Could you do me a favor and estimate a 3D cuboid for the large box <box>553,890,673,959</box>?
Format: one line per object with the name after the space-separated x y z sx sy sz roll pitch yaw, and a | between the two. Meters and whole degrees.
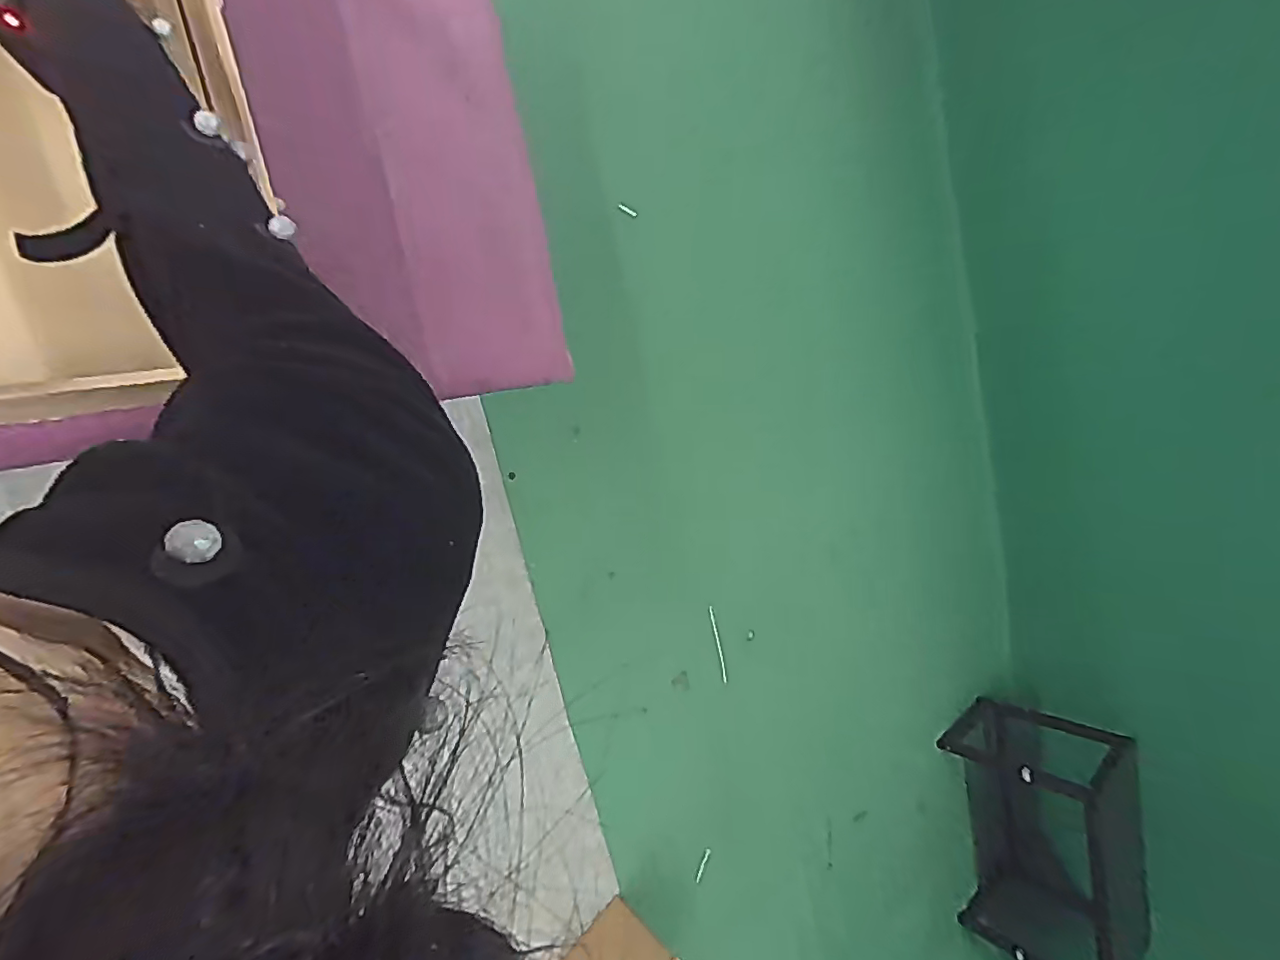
-0.094 1.595 1.632 0.408 0.320 0.320 -37 112 -32 | large box
